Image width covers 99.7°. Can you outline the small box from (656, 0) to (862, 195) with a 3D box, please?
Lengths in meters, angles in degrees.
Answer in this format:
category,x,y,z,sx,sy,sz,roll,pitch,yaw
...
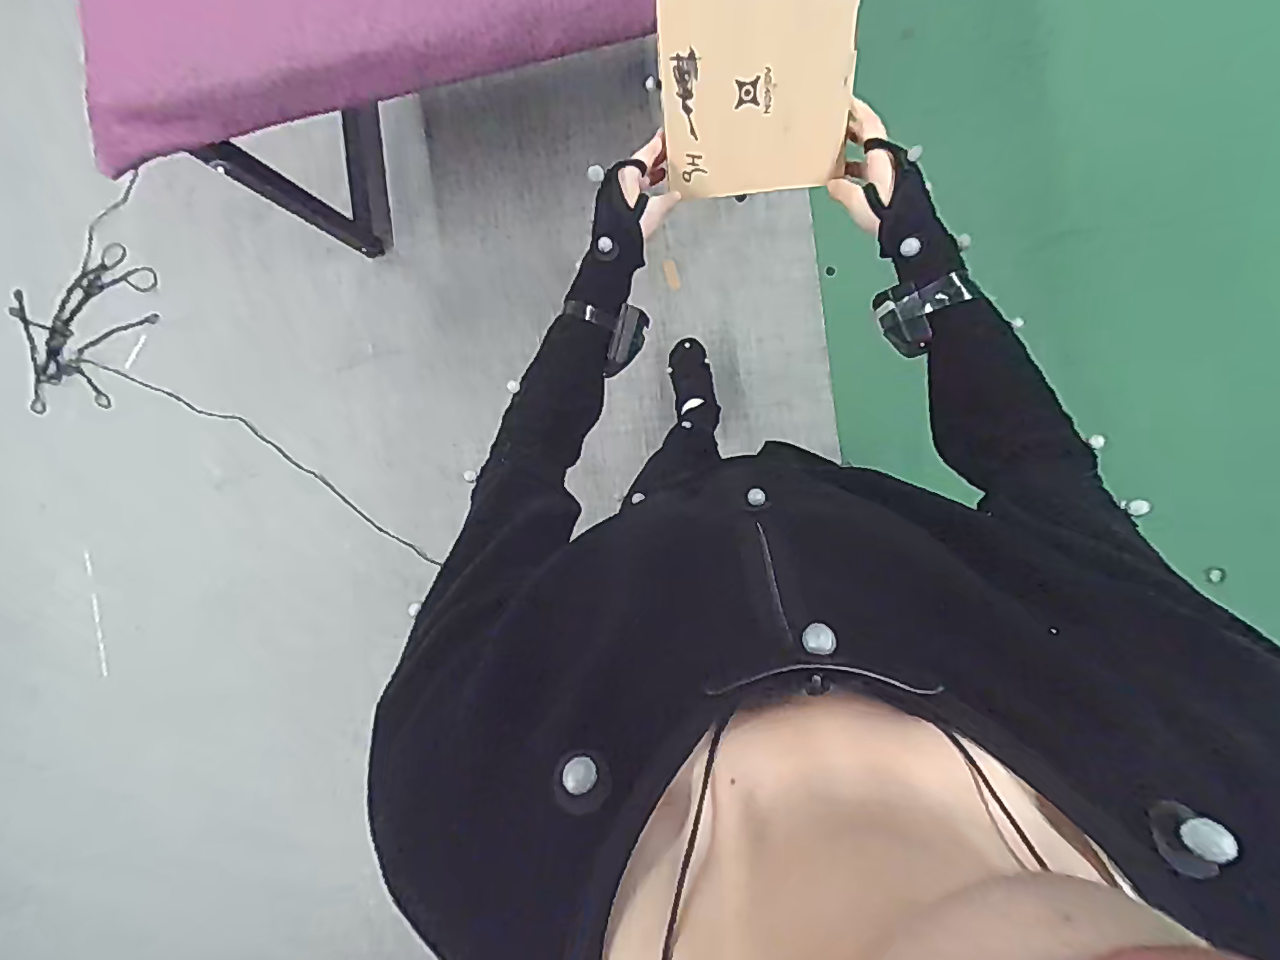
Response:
category,x,y,z,sx,sy,sz,roll,pitch,yaw
small box,0.109,-0.402,0.561,0.179,0.176,0.168,-4,121,4
